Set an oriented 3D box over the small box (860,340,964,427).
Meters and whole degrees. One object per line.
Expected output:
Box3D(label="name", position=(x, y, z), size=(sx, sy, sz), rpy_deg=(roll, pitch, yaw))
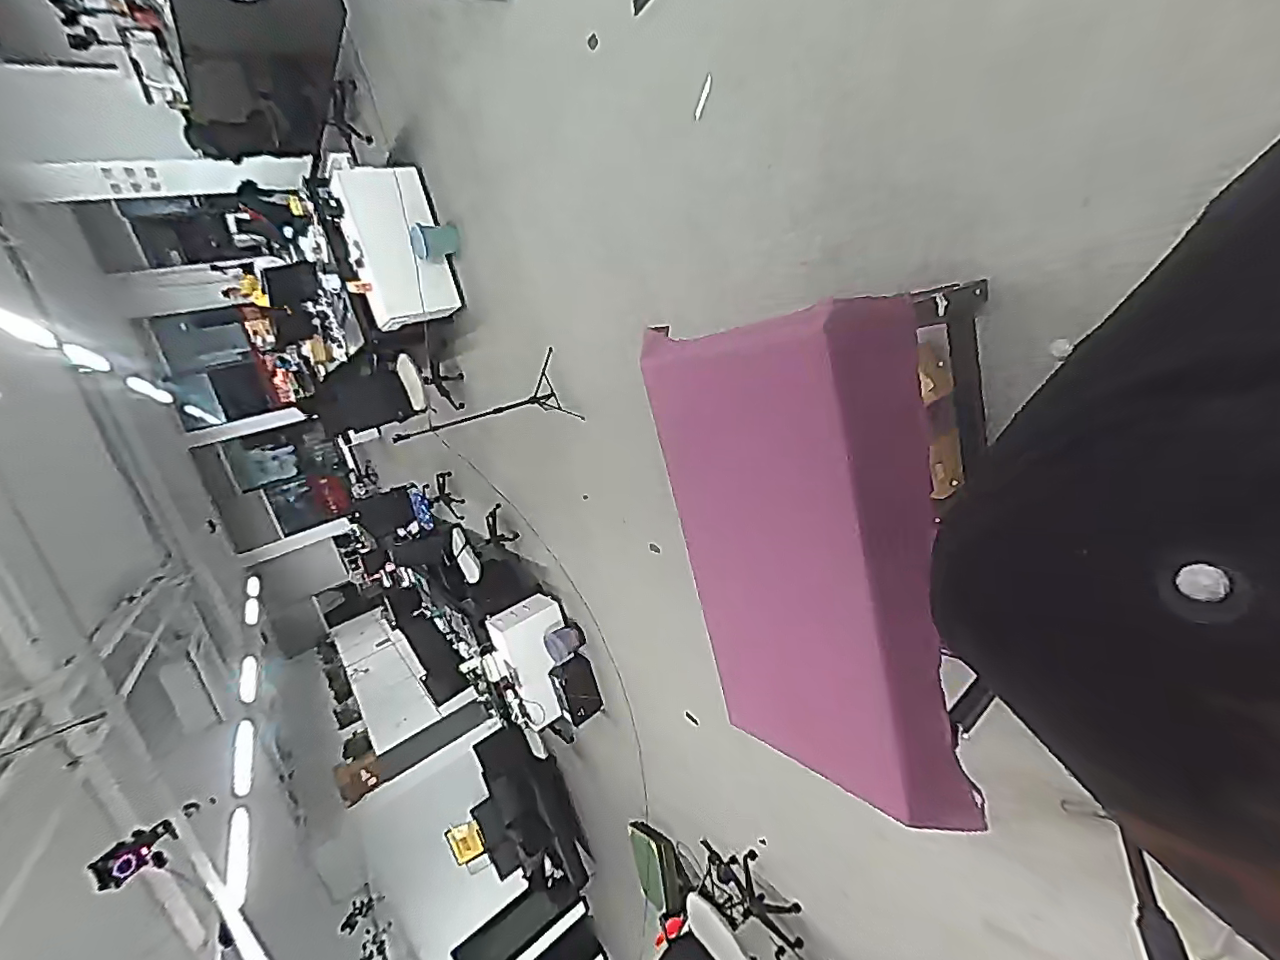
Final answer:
Box3D(label="small box", position=(0.800, -0.283, 1.589), size=(0.168, 0.176, 0.179), rpy_deg=(60, 149, 10))
